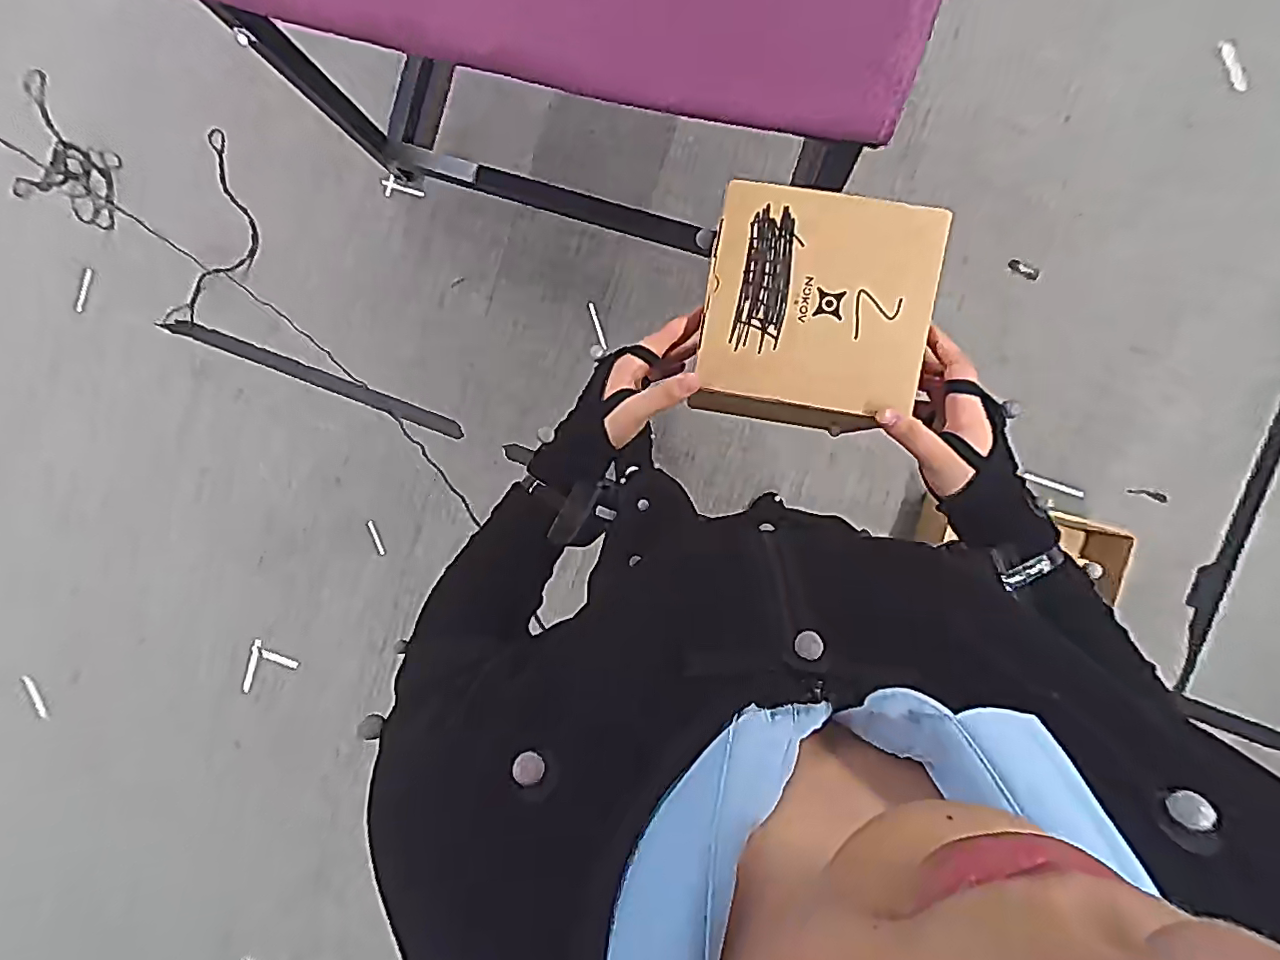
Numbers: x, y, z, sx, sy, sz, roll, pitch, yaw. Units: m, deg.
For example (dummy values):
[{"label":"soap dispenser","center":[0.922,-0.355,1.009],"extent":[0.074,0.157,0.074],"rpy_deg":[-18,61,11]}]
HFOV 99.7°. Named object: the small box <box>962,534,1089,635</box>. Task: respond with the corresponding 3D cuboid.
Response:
[{"label":"small box","center":[0.903,0.240,1.287],"extent":[0.168,0.176,0.179],"rpy_deg":[13,95,5]}]
